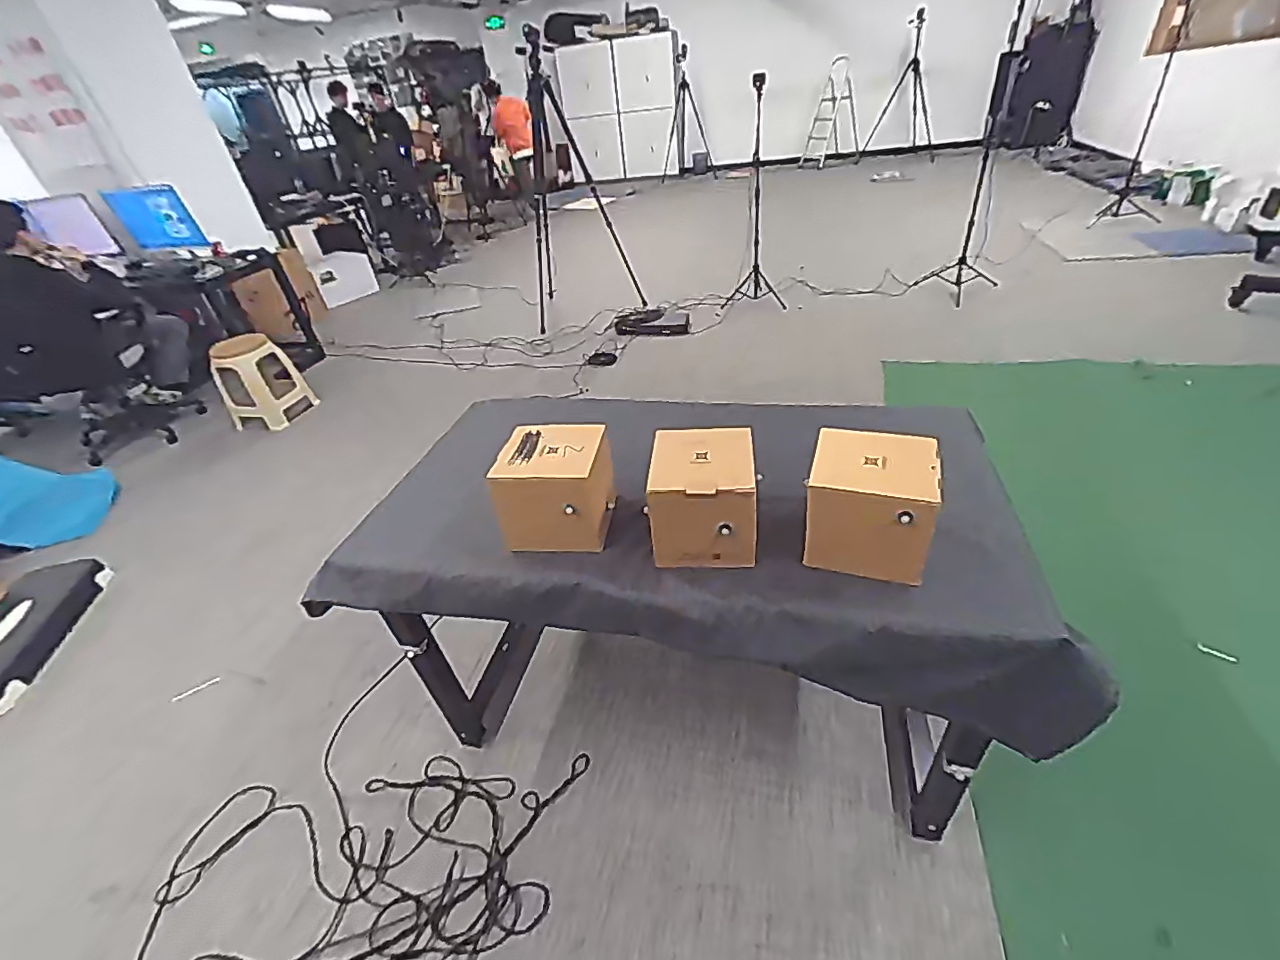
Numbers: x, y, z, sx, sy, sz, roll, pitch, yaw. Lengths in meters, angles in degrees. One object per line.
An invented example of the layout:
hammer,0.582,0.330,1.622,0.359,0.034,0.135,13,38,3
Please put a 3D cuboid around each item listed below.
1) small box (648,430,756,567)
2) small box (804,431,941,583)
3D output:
small box,0.109,0.033,0.918,0.168,0.176,0.179,0,36,8
small box,0.363,0.041,0.860,0.179,0.176,0.168,8,39,20
